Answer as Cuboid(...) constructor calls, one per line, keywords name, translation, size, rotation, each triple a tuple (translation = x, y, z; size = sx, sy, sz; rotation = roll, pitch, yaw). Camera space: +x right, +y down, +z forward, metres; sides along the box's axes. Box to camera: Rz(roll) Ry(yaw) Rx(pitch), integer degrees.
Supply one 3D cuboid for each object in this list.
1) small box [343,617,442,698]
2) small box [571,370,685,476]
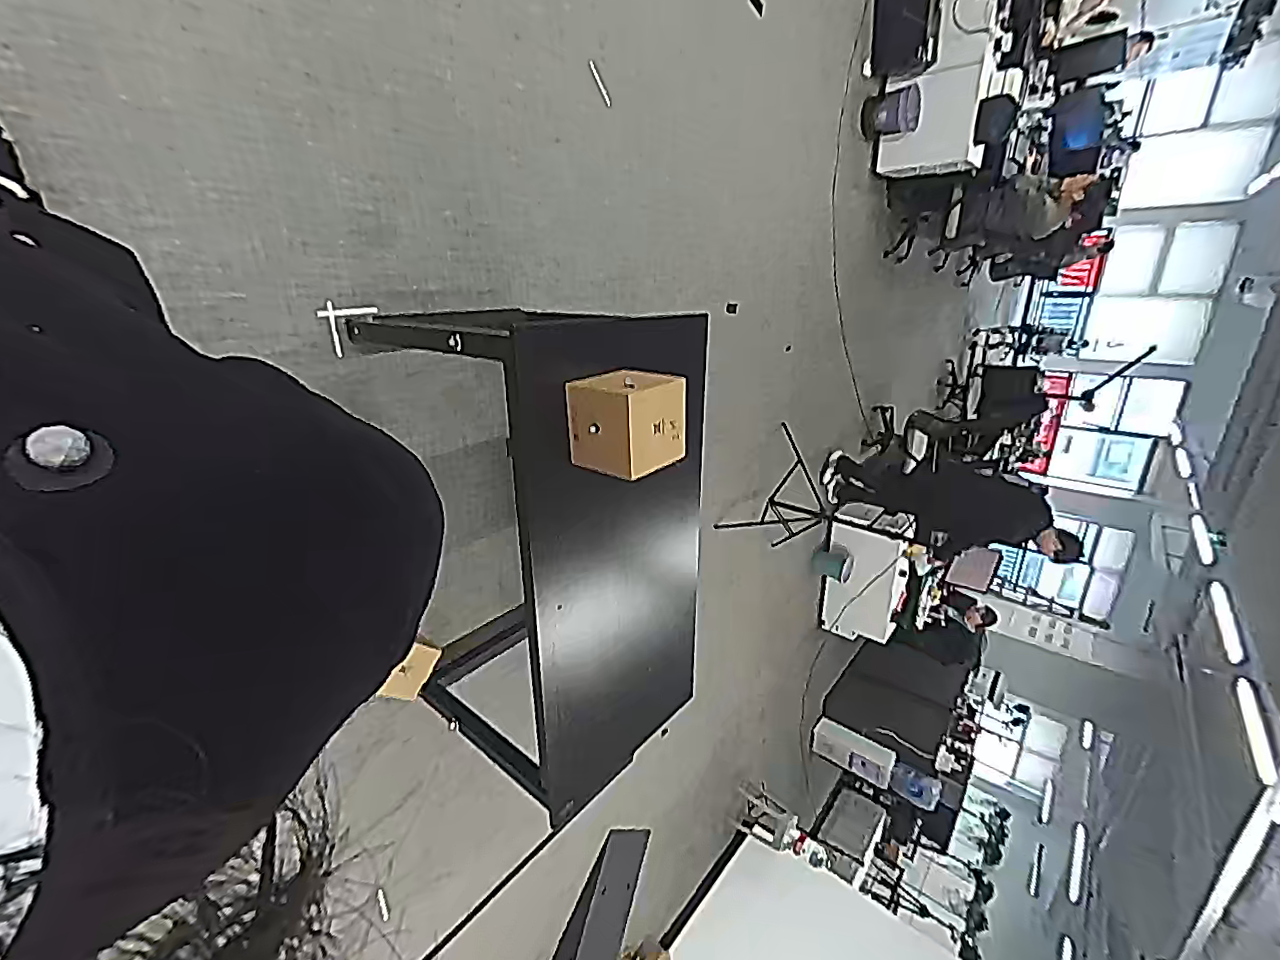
Cuboid(name="small box", translation=(-0.742, 0.530, 1.624), size=(0.179, 0.176, 0.168), rotation=(44, 68, -49))
Cuboid(name="small box", translation=(-0.026, -0.122, 1.091), size=(0.179, 0.176, 0.168), rotation=(-25, 122, -45))
